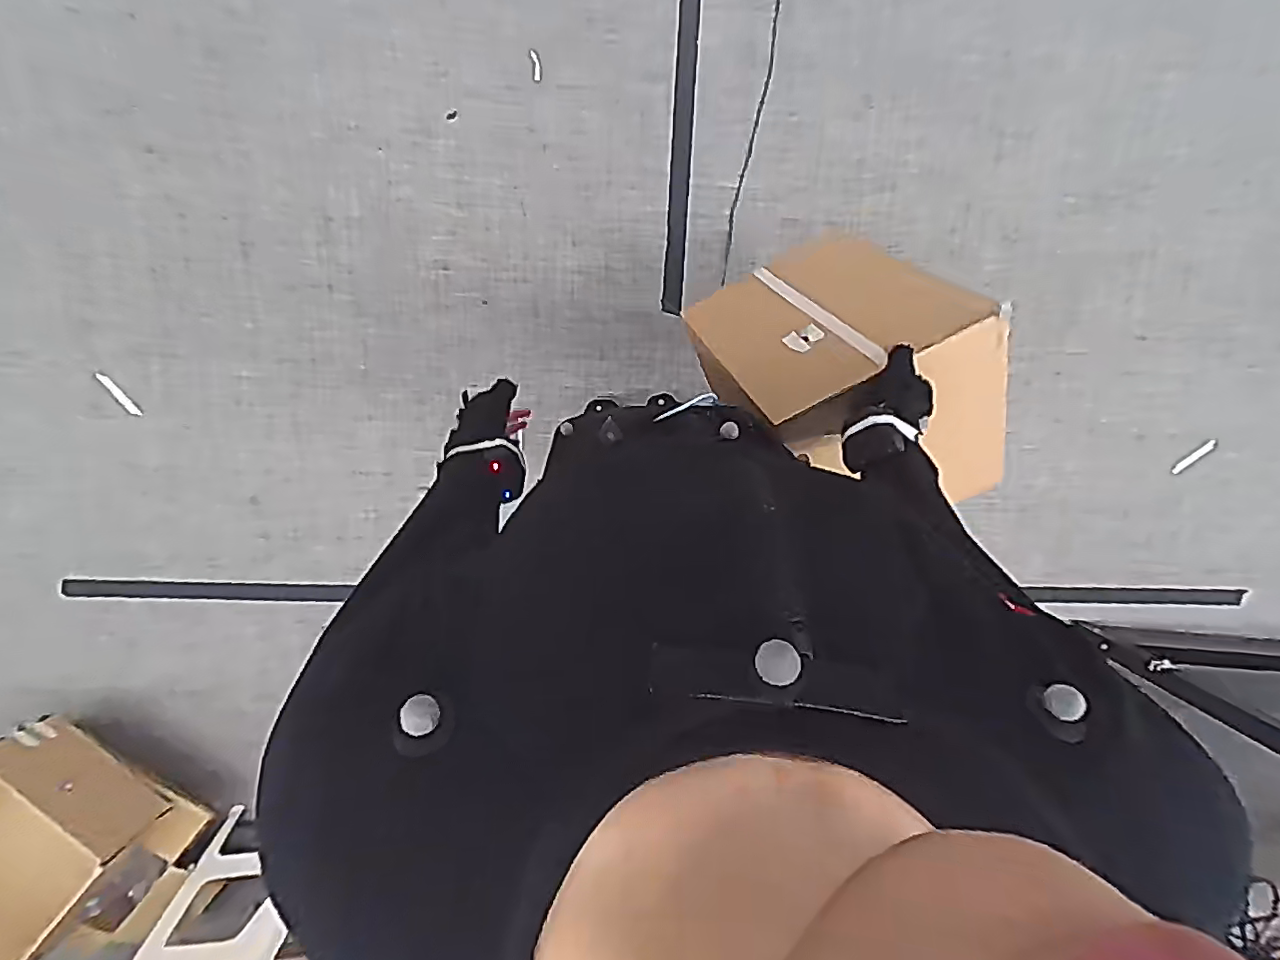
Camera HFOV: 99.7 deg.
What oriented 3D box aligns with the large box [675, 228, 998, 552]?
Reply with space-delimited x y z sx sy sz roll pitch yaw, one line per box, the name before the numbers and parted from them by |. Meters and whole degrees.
large box | 0.309 -0.162 0.913 0.320 0.408 0.320 -30 131 4
